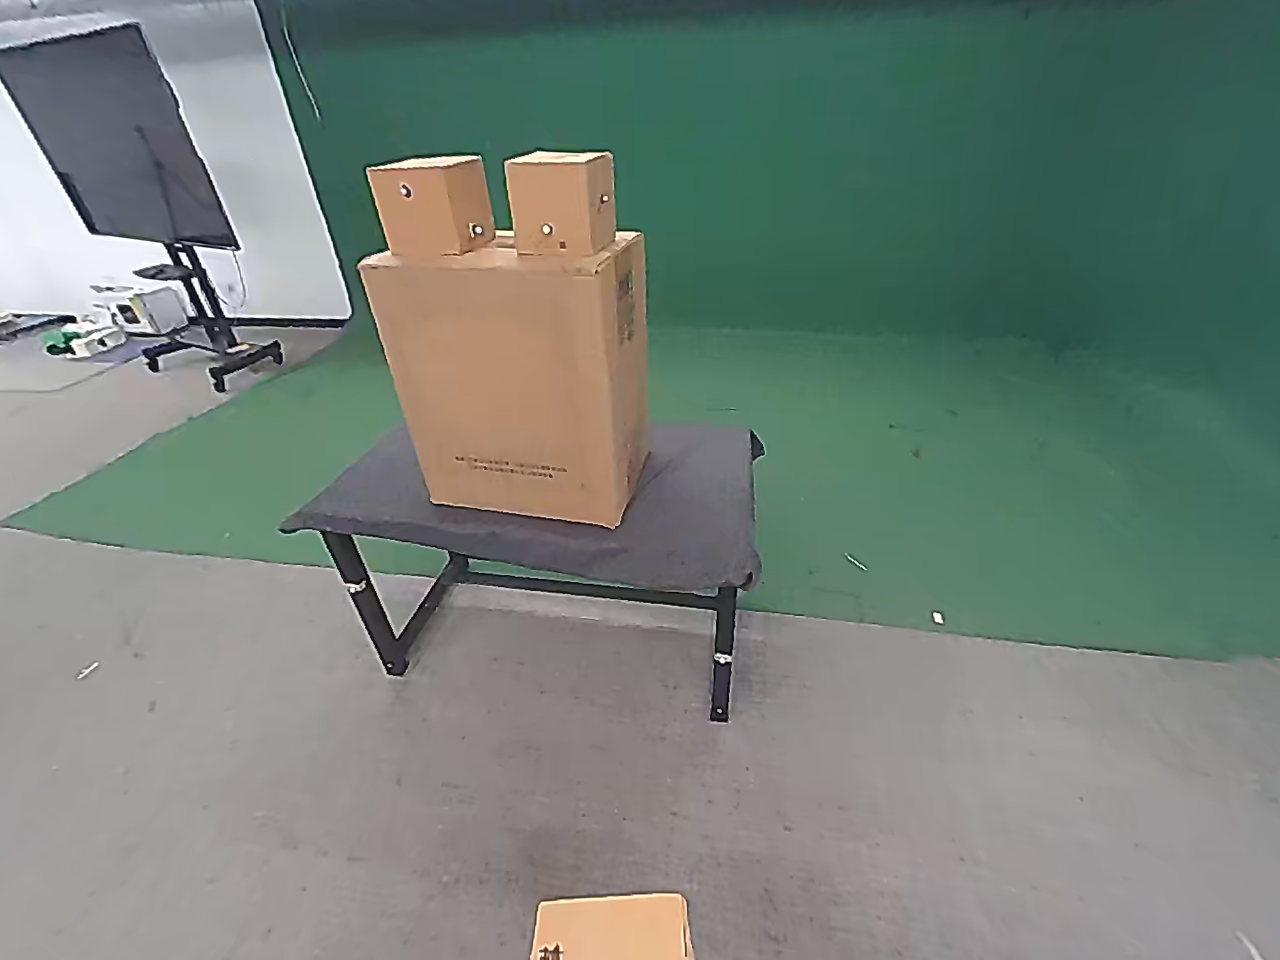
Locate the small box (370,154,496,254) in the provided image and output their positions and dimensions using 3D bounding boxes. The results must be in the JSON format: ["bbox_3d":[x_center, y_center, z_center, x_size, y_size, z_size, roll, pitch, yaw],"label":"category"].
[{"bbox_3d":[-0.435,-0.594,1.165,0.179,0.176,0.168,8,39,12],"label":"small box"}]

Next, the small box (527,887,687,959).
[{"bbox_3d":[-0.032,0.598,0.614,0.179,0.176,0.168,-5,28,3],"label":"small box"}]

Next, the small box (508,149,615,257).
[{"bbox_3d":[-0.152,-0.573,1.114,0.168,0.176,0.179,8,38,12],"label":"small box"}]
